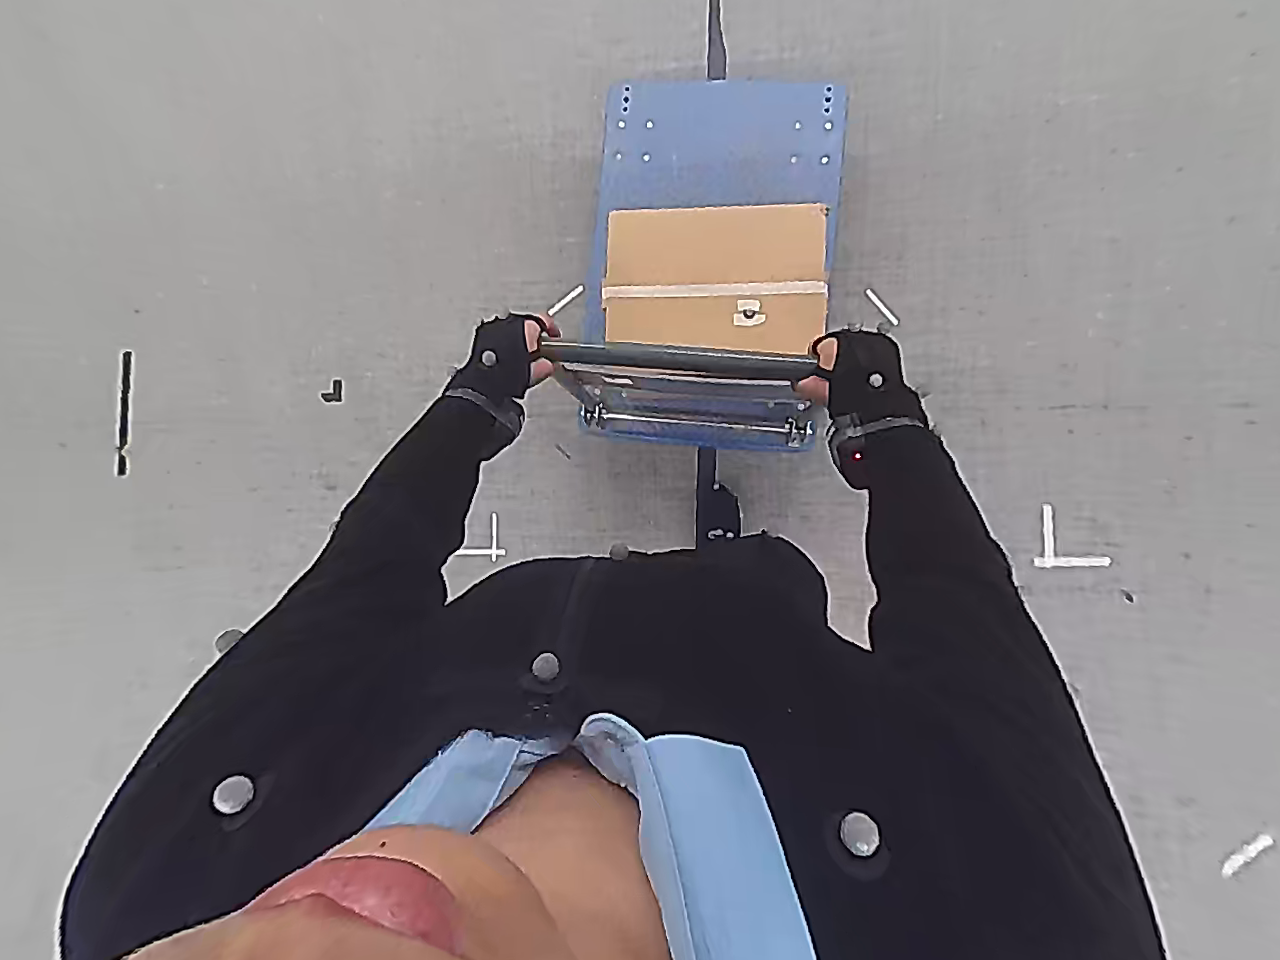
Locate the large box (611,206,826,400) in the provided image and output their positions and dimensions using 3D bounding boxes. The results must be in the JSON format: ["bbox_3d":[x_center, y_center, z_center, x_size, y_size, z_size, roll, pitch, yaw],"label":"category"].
[{"bbox_3d":[0.157,-0.352,1.160,0.408,0.320,0.320,1,91,6],"label":"large box"}]
